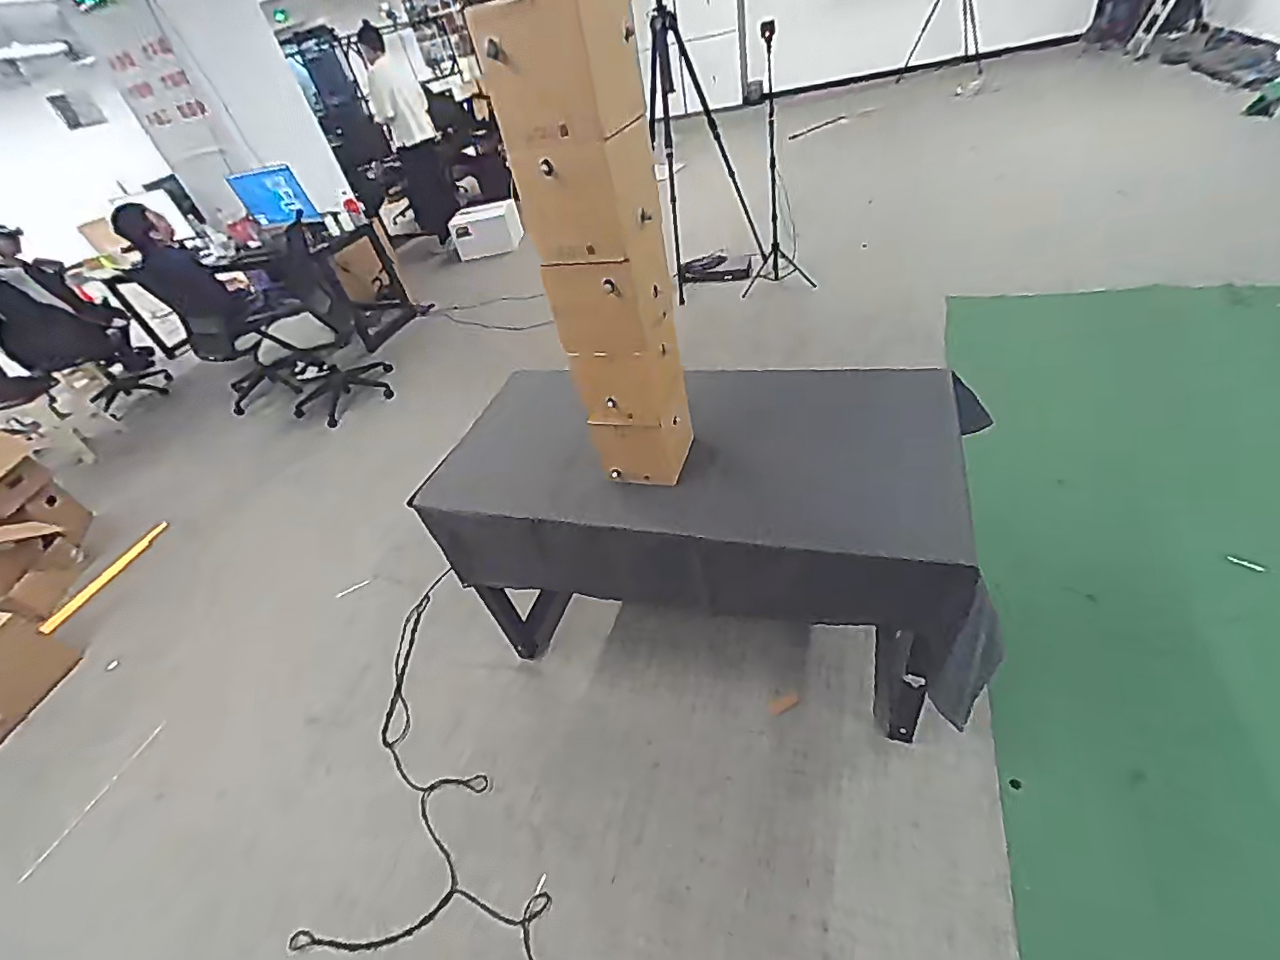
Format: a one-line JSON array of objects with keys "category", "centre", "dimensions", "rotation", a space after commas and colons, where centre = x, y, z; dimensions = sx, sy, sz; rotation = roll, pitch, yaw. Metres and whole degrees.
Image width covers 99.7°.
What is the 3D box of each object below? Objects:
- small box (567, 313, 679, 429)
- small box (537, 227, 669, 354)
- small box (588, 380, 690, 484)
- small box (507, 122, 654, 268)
[{"category": "small box", "centre": [-0.024, -0.226, 1.107], "dimensions": [0.168, 0.176, 0.179], "rotation": [4, 44, 21]}, {"category": "small box", "centre": [-0.056, -0.344, 0.998], "dimensions": [0.179, 0.176, 0.168], "rotation": [5, 44, 22]}, {"category": "small box", "centre": [0.007, -0.107, 1.213], "dimensions": [0.168, 0.176, 0.179], "rotation": [4, 43, 21]}, {"category": "small box", "centre": [-0.084, -0.464, 0.890], "dimensions": [0.168, 0.176, 0.179], "rotation": [6, 45, 23]}]
